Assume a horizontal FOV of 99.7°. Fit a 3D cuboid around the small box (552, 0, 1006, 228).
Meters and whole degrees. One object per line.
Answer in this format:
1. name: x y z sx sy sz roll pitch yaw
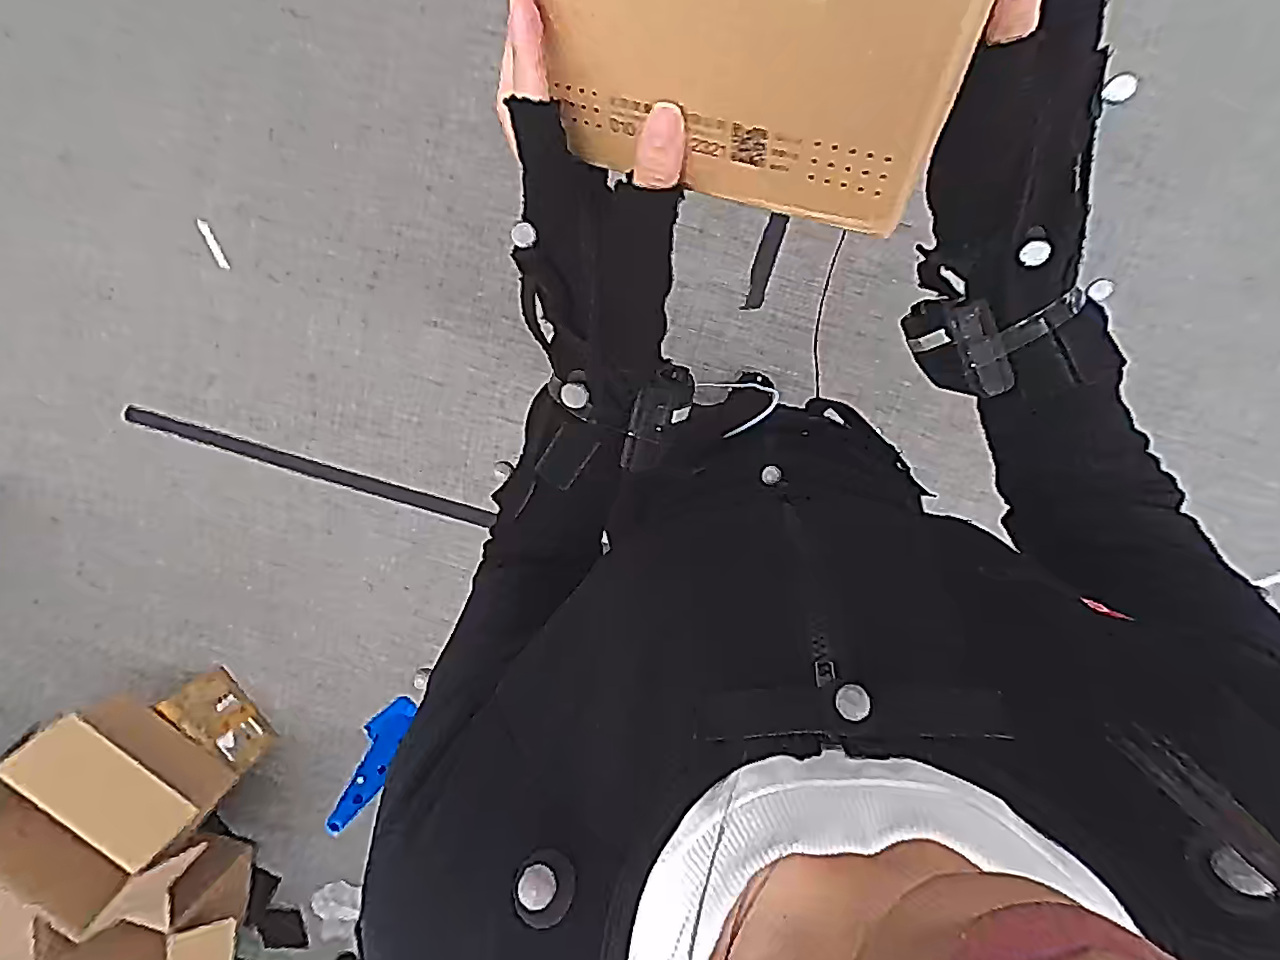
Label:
1. small box: 0.069 -0.236 0.214 0.168 0.176 0.179 25 67 16
